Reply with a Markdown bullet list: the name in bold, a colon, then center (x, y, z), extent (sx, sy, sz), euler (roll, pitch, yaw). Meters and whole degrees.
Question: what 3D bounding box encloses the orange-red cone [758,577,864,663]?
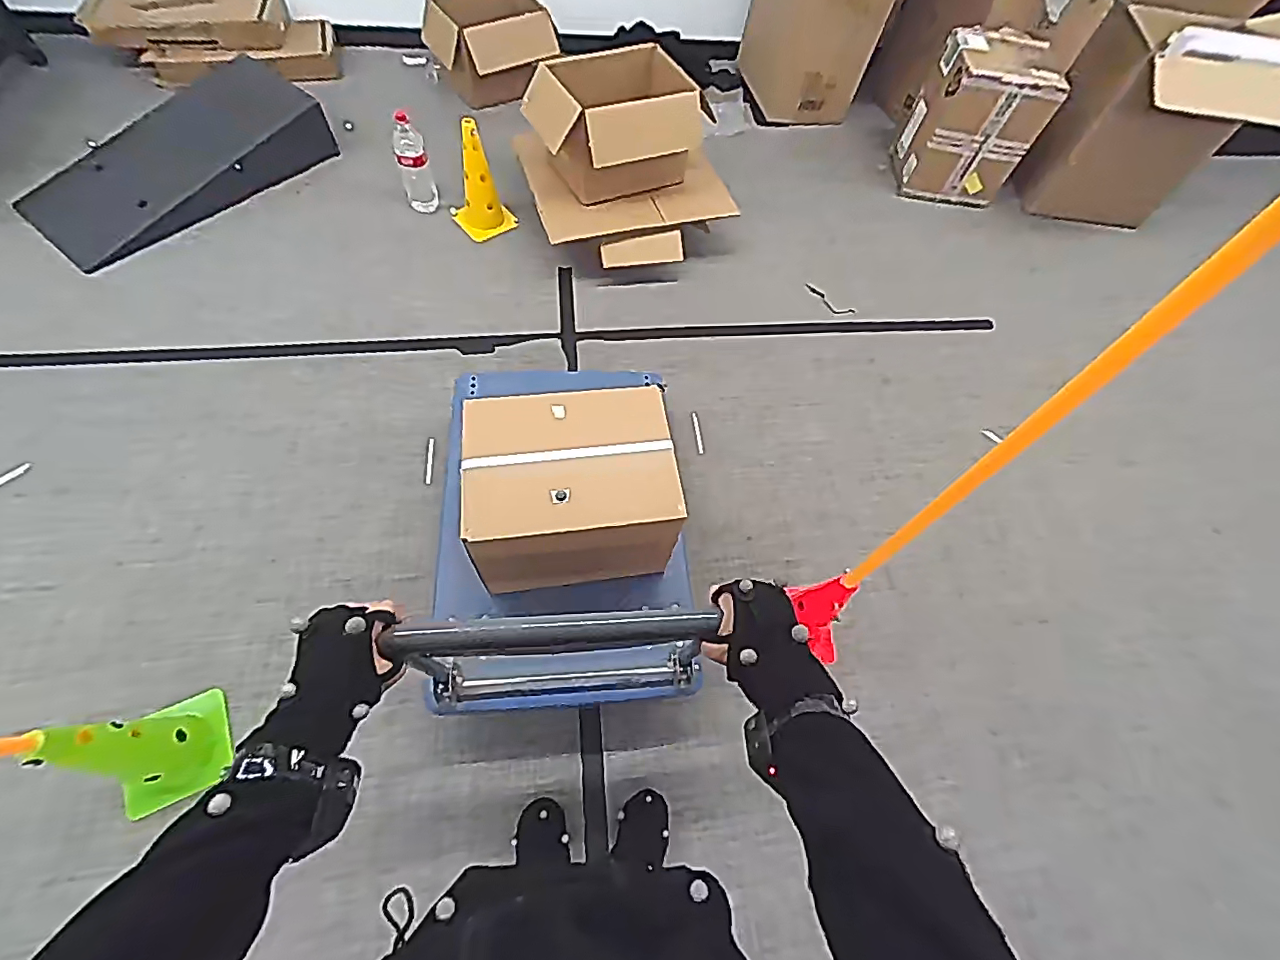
- **orange-red cone**: center (0.428, 0.296, 1.264), extent (0.199, 0.360, 0.198), euler (3, 62, -5)
